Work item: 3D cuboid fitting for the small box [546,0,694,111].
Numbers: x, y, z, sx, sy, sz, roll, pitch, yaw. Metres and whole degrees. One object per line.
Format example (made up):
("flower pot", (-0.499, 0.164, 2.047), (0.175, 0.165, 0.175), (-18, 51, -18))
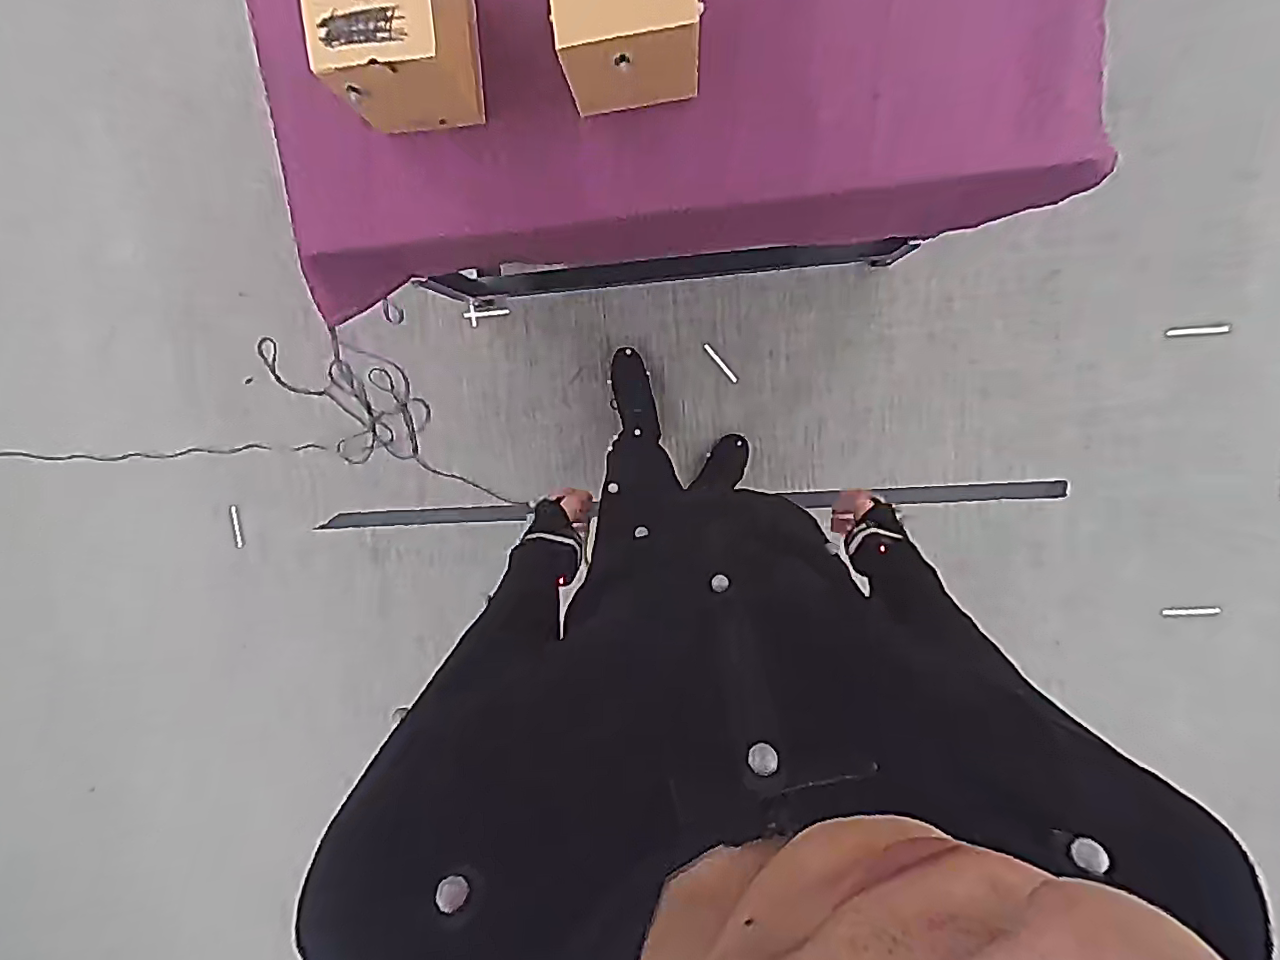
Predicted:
("small box", (-0.022, -0.620, 0.711), (0.179, 0.176, 0.168), (-6, 99, 5))
